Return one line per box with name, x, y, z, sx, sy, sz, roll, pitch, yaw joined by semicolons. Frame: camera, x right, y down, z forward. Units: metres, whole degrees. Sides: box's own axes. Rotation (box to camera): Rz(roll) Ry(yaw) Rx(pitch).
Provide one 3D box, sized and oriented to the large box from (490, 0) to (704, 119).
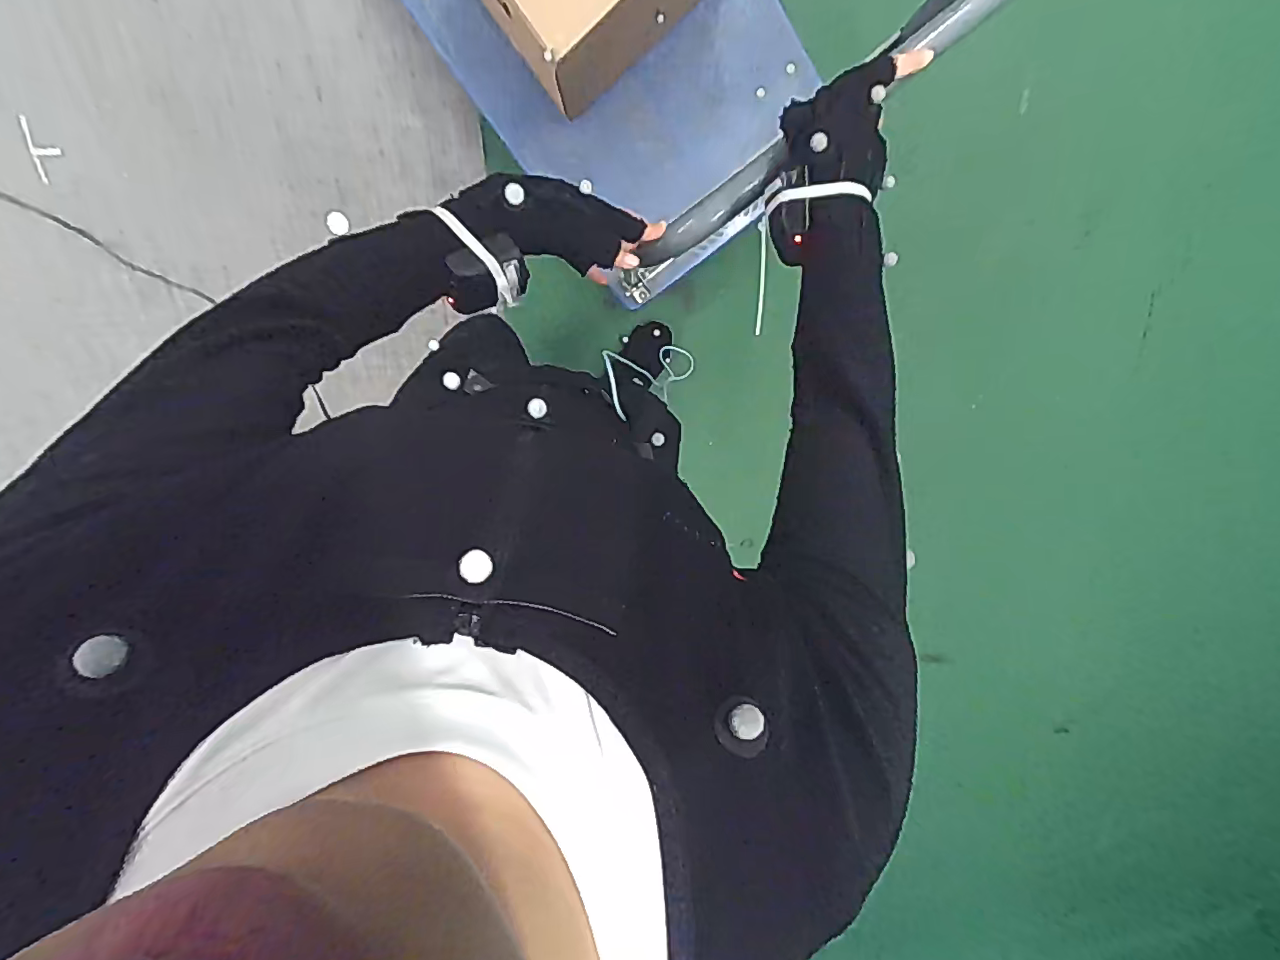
large box;-0.058;-0.892;0.862;0.408;0.320;0.320;-38;106;11
